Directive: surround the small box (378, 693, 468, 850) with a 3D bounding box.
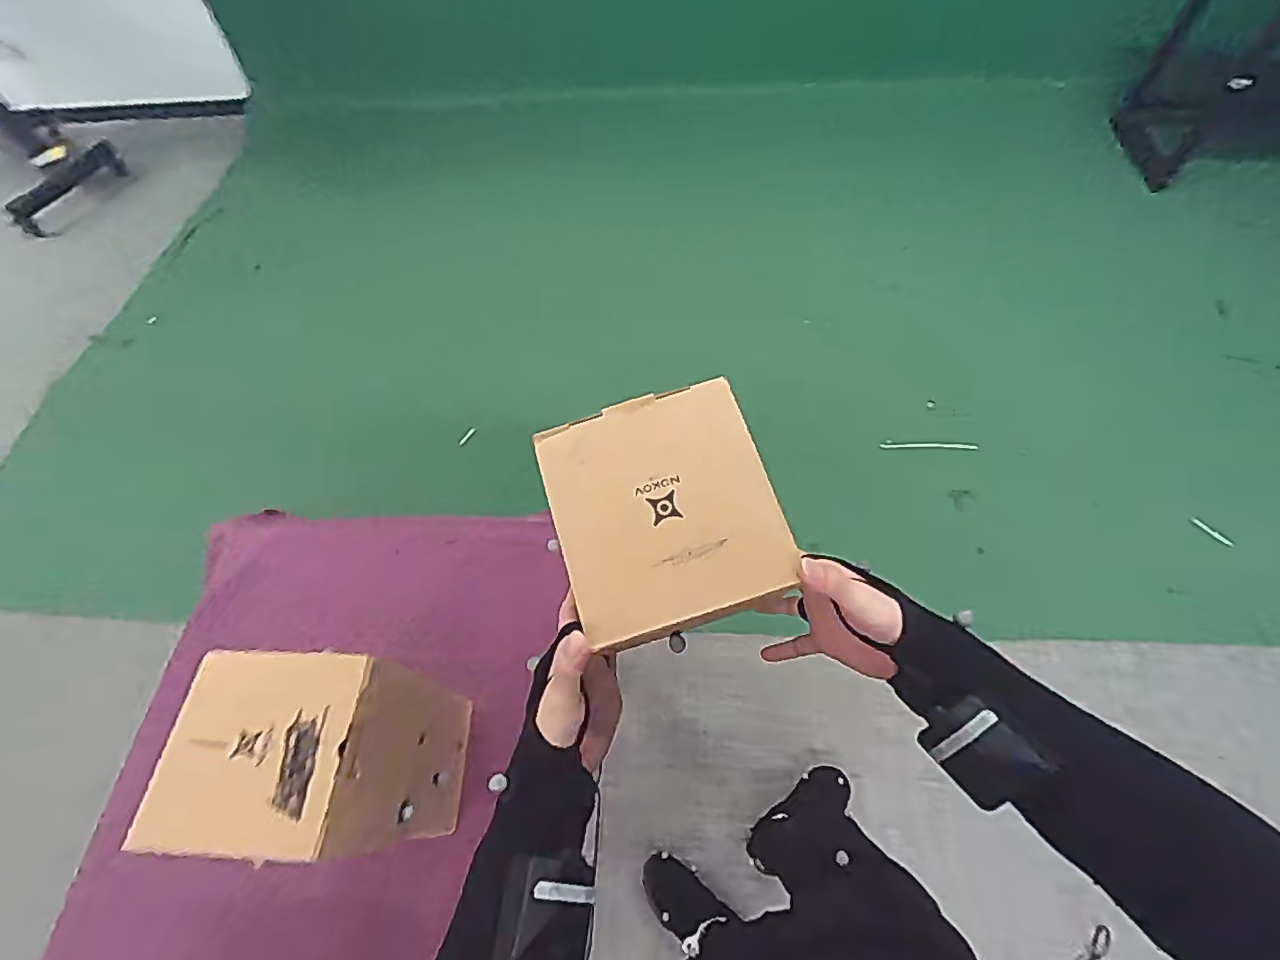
[{"bbox_3d":[-0.336,0.362,0.686,0.179,0.176,0.168,-3,60,4],"label":"small box"}]

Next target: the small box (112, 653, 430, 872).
[{"bbox_3d":[-0.338,0.278,0.544,0.179,0.176,0.168,0,60,6],"label":"small box"}]

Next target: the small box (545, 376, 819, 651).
[{"bbox_3d":[0.028,0.041,0.472,0.168,0.176,0.179,-16,72,-2],"label":"small box"}]
